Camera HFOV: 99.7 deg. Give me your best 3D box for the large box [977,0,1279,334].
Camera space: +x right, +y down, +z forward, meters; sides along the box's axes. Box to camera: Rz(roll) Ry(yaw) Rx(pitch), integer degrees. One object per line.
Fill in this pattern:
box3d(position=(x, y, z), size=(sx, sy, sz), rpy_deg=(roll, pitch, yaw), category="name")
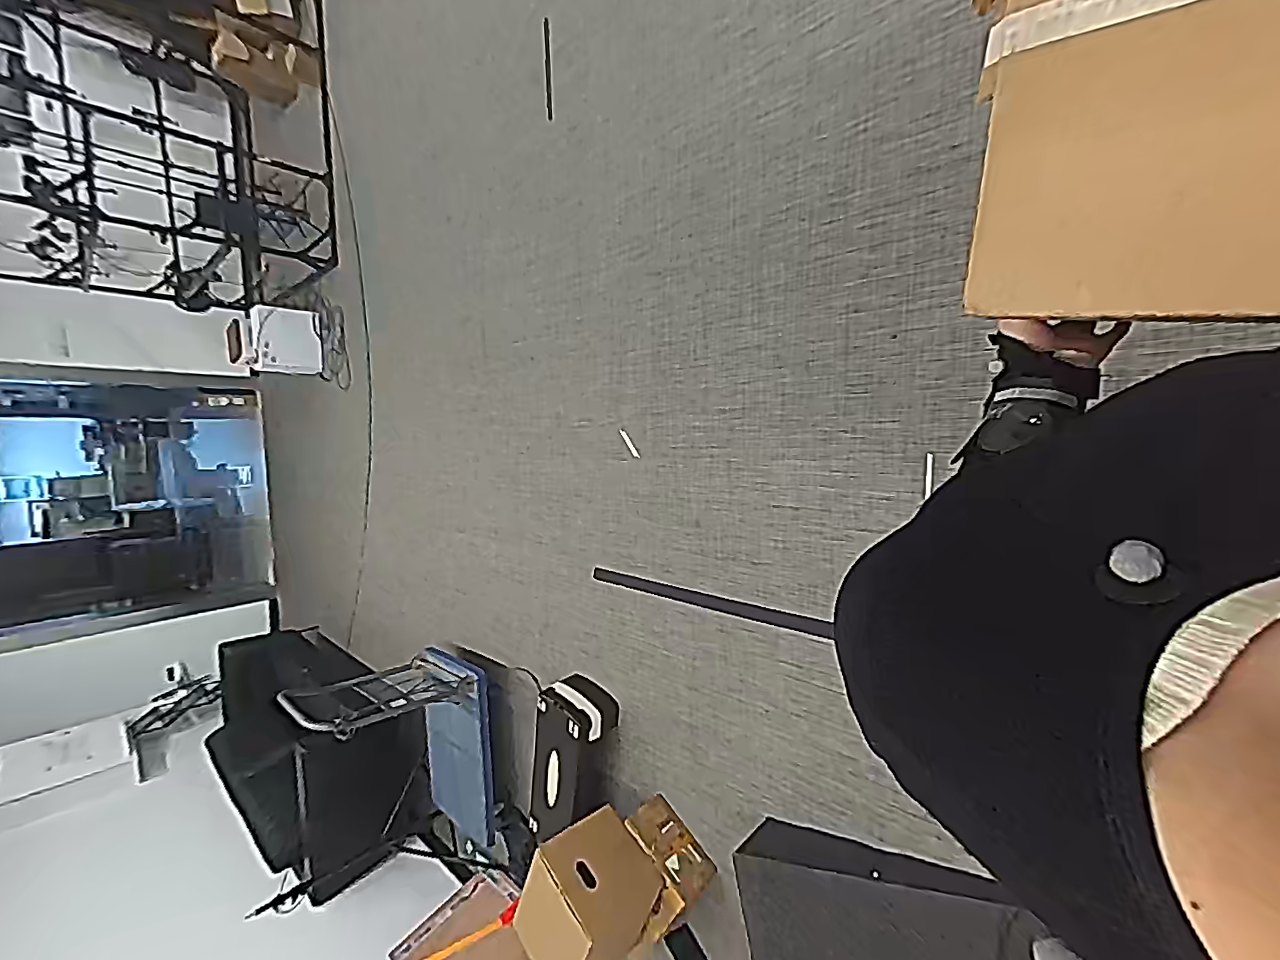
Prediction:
box3d(position=(0.464, -0.243, 0.289), size=(0.408, 0.320, 0.320), rpy_deg=(15, 112, 42), category="large box")
